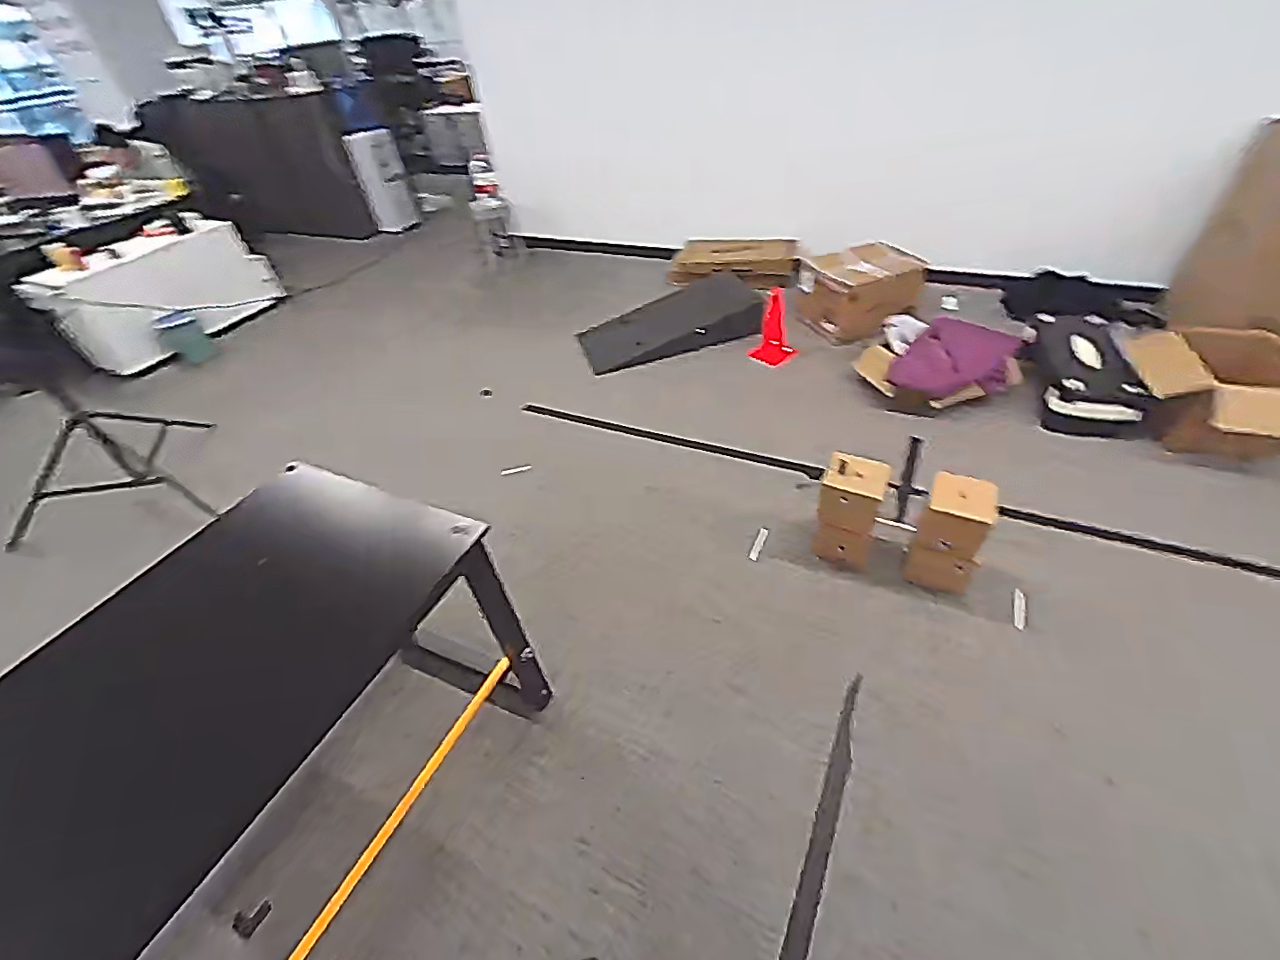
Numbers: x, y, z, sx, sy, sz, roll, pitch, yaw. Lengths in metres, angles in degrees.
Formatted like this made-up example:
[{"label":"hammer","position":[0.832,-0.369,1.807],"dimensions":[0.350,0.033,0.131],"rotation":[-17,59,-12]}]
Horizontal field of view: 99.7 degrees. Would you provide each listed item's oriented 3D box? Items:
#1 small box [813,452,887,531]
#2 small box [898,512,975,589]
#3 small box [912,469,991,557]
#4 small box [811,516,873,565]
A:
[{"label":"small box","position":[0.664,0.039,1.725],"dimensions":[0.179,0.176,0.168],"rotation":[17,47,25]},{"label":"small box","position":[0.948,0.226,1.732],"dimensions":[0.179,0.176,0.168],"rotation":[14,47,21]},{"label":"small box","position":[0.935,0.099,1.630],"dimensions":[0.168,0.176,0.179],"rotation":[15,49,23]},{"label":"small box","position":[0.689,0.160,1.837],"dimensions":[0.168,0.176,0.179],"rotation":[17,48,24]}]
